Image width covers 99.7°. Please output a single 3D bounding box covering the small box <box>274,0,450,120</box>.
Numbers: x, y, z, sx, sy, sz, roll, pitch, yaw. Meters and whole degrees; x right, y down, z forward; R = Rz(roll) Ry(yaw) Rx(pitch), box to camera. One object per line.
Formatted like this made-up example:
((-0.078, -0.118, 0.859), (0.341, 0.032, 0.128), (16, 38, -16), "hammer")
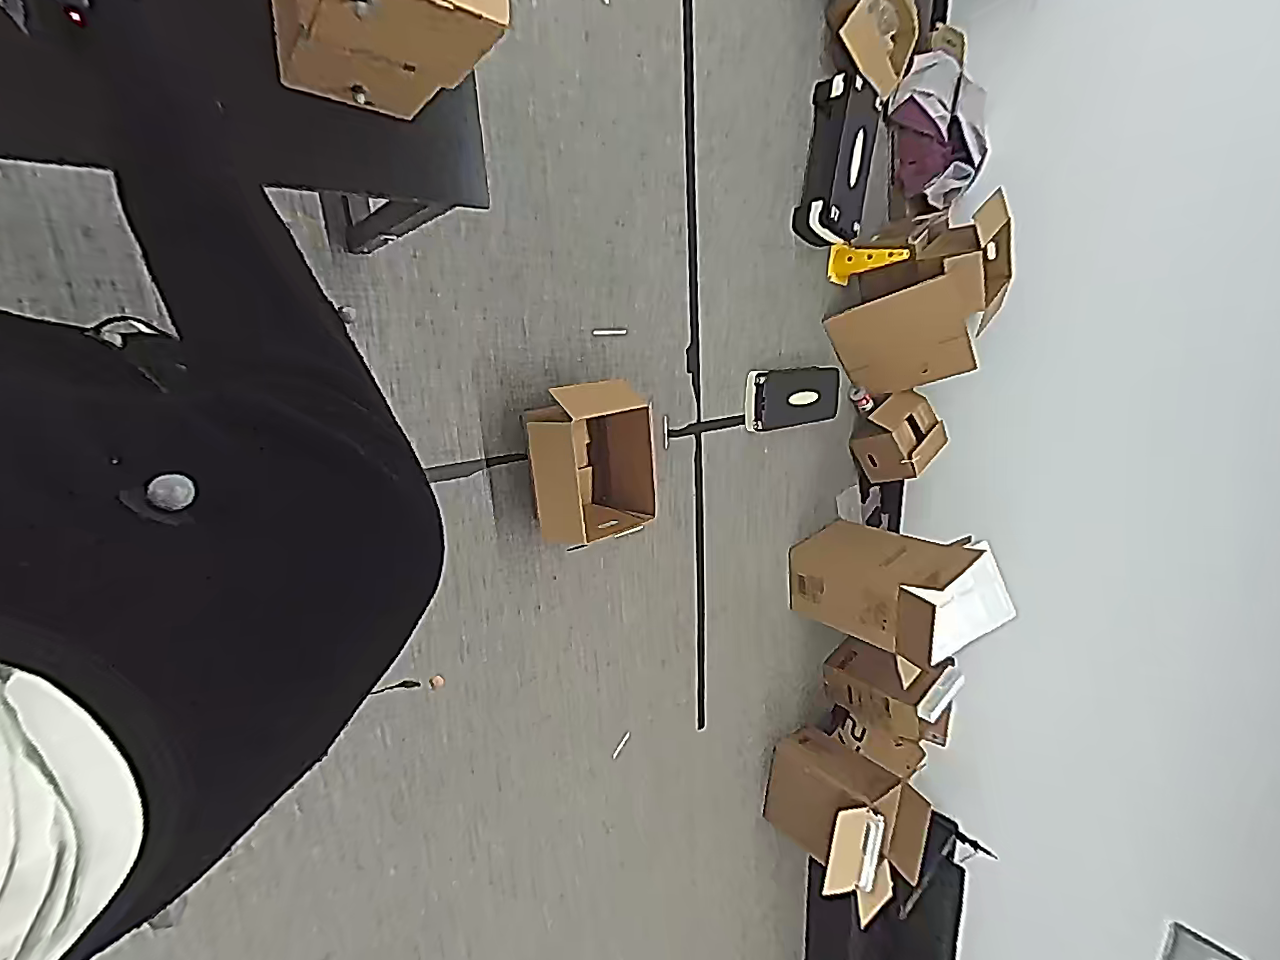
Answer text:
((-0.353, -0.595, 0.678), (0.168, 0.176, 0.179), (-9, 106, -38), "small box")
